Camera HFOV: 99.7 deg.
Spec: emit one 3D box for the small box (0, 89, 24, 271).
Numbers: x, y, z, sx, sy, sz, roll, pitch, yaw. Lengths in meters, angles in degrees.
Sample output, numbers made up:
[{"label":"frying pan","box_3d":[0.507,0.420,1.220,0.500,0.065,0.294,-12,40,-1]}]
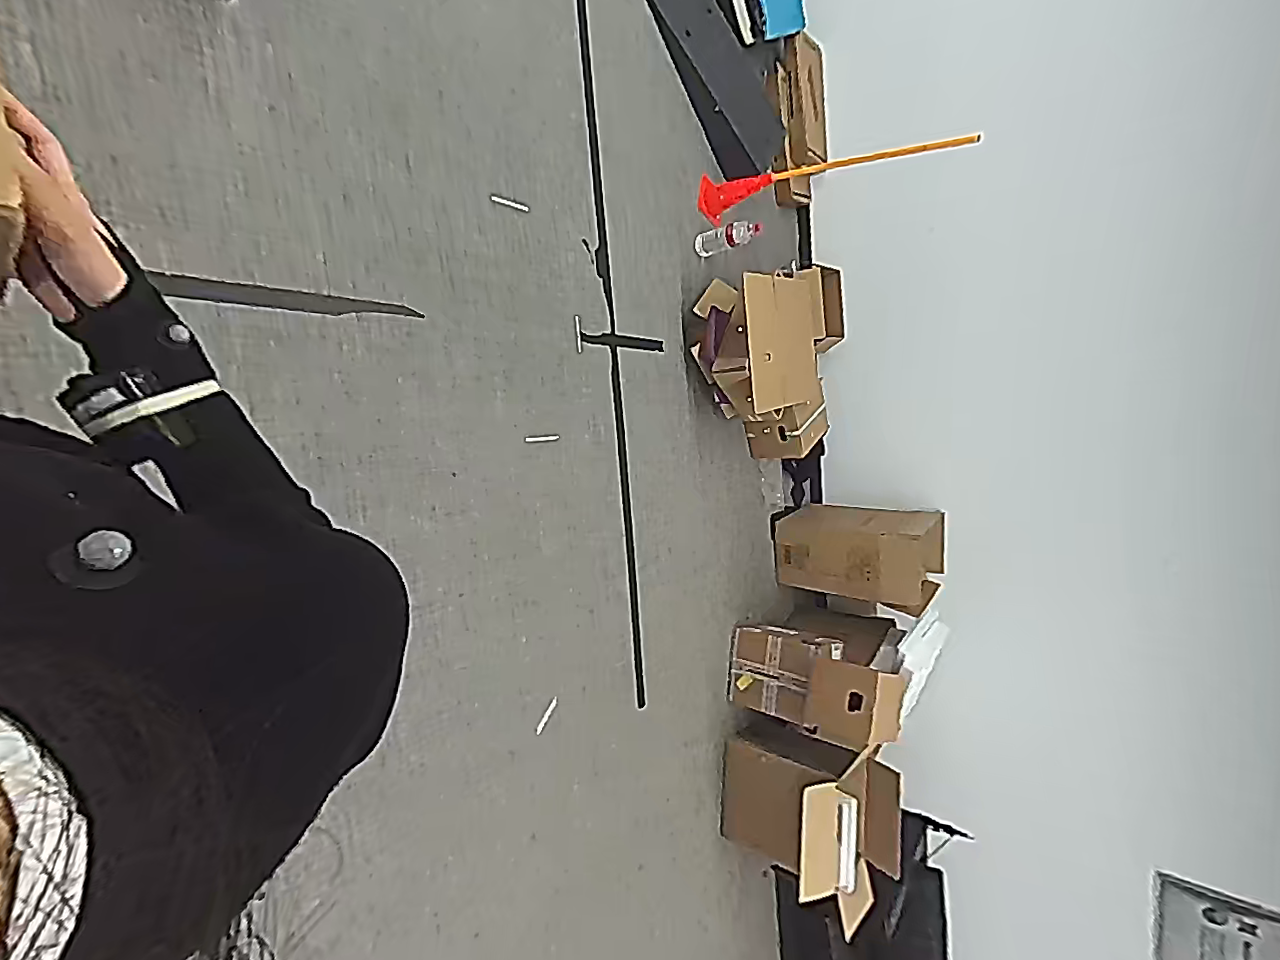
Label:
[{"label":"small box","box_3d":[-0.445,-0.205,0.262,0.168,0.176,0.179,-14,97,-54]}]
